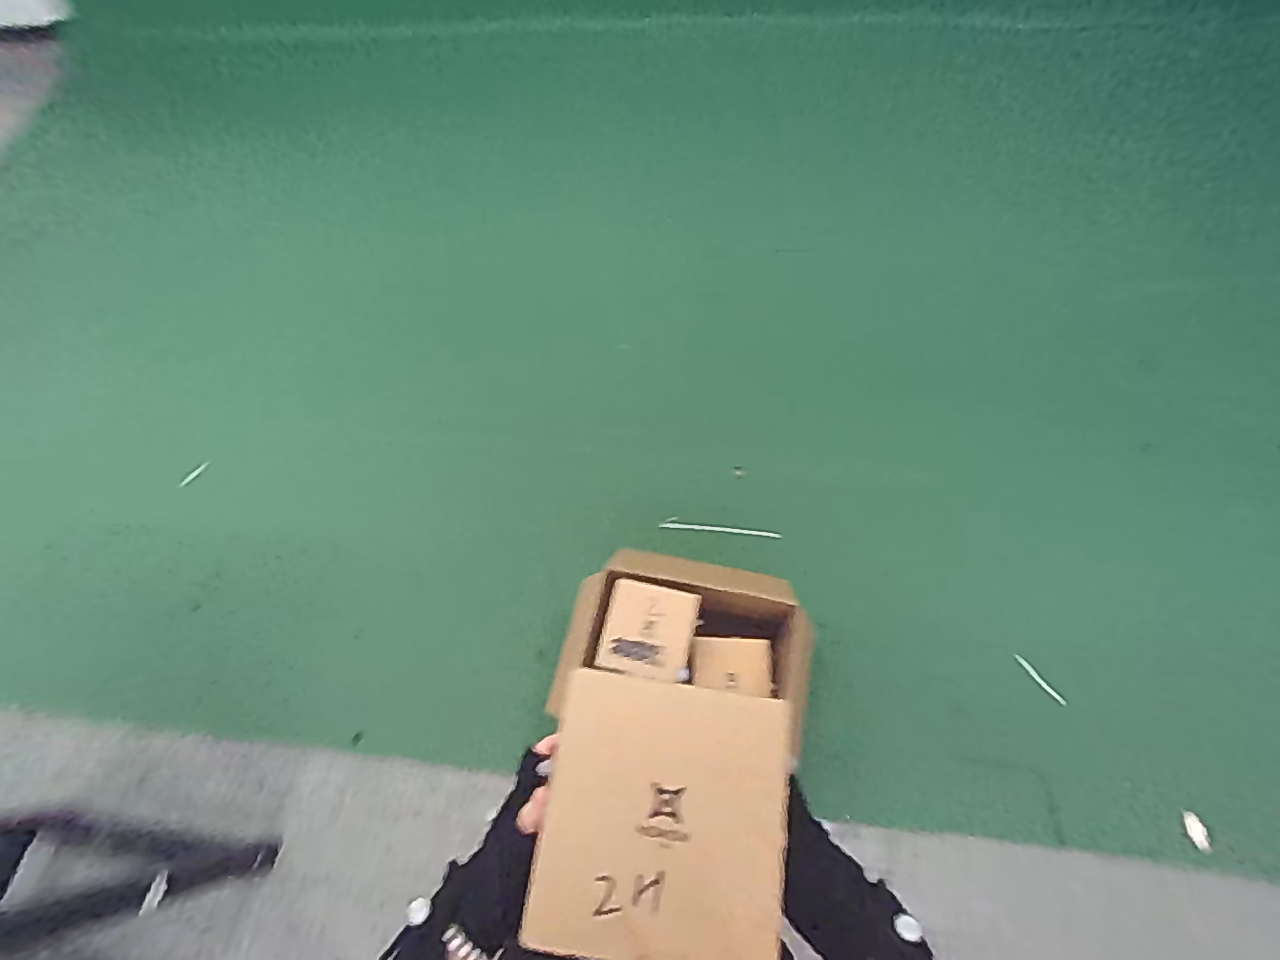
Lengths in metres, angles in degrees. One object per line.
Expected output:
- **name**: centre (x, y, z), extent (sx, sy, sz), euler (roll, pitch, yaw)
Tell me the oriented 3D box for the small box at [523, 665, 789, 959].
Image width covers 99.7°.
- **small box**: centre (0.017, 0.262, 0.446), extent (0.168, 0.176, 0.179), euler (8, 68, 4)
